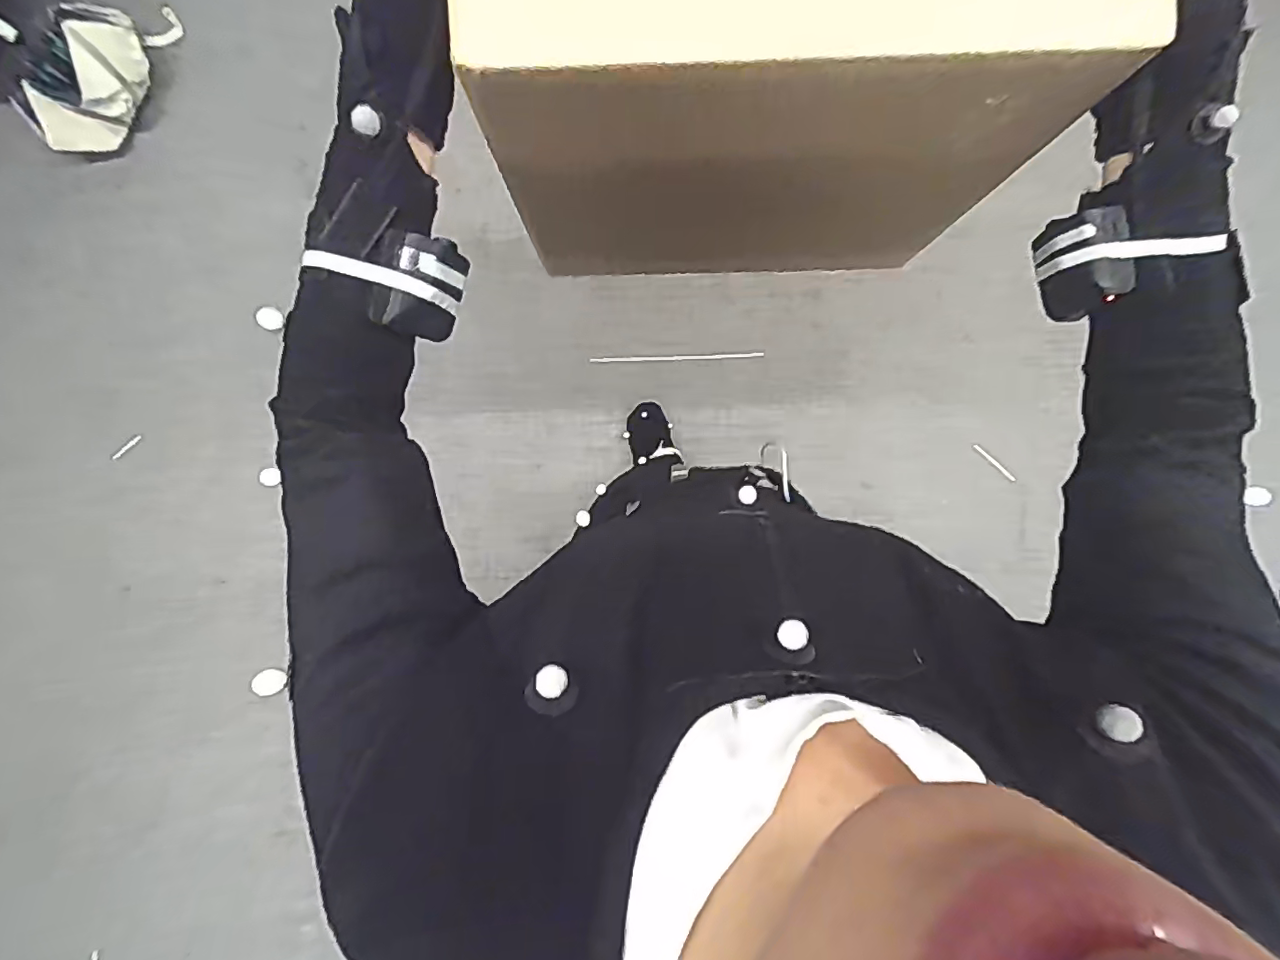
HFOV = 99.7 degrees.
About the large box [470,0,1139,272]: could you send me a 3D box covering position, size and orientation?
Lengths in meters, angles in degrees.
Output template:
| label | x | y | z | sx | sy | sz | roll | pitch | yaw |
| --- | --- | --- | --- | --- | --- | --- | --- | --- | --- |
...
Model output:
| label | x | y | z | sx | sy | sz | roll | pitch | yaw |
| --- | --- | --- | --- | --- | --- | --- | --- | --- | --- |
| large box | 0.088 | -0.397 | 0.469 | 0.408 | 0.320 | 0.320 | -2 | 90 | -1 |
